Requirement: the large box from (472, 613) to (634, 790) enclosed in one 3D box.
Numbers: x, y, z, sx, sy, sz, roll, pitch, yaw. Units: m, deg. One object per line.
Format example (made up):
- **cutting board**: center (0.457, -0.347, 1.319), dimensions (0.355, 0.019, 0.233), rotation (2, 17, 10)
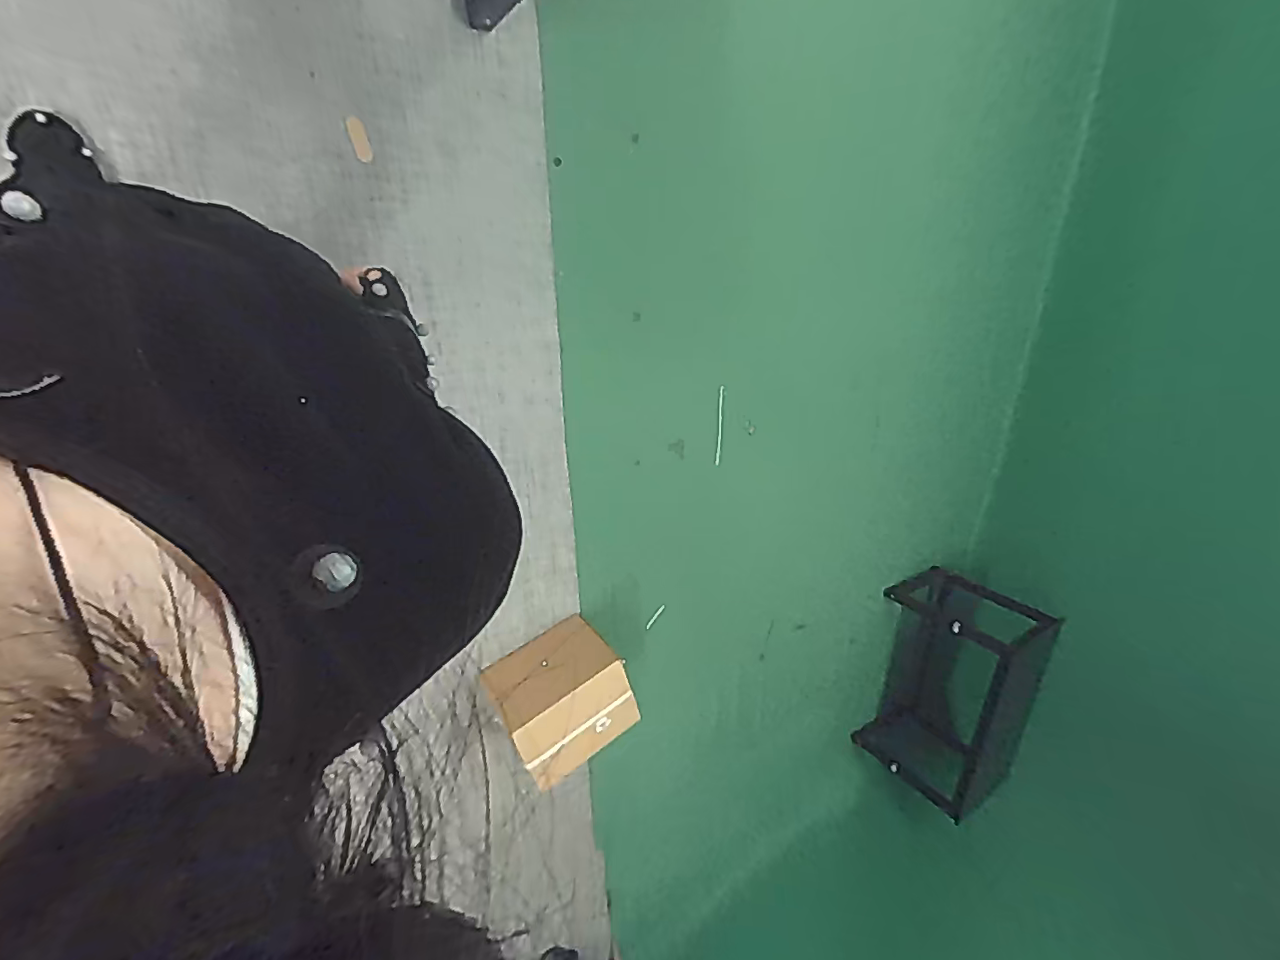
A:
- **large box**: center (-0.296, 0.740, 1.856), dimensions (0.408, 0.320, 0.320), rotation (-30, 124, -26)
